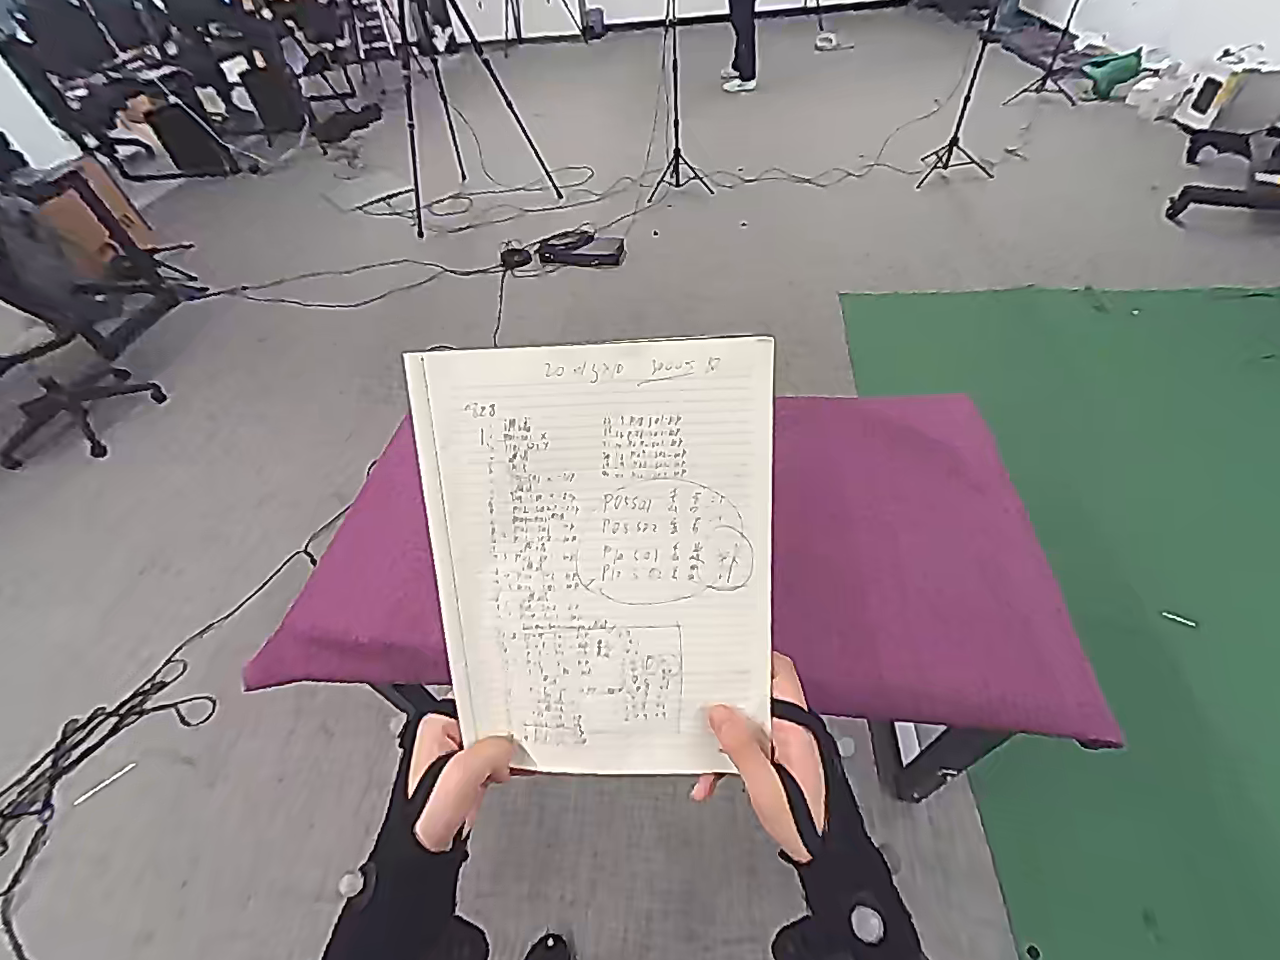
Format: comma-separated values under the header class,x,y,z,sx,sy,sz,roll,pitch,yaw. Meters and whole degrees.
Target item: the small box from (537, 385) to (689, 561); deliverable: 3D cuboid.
class,x,y,z,sx,sy,sz,roll,pitch,yaw
small box,-0.022,-0.008,0.724,0.168,0.176,0.179,2,47,8
